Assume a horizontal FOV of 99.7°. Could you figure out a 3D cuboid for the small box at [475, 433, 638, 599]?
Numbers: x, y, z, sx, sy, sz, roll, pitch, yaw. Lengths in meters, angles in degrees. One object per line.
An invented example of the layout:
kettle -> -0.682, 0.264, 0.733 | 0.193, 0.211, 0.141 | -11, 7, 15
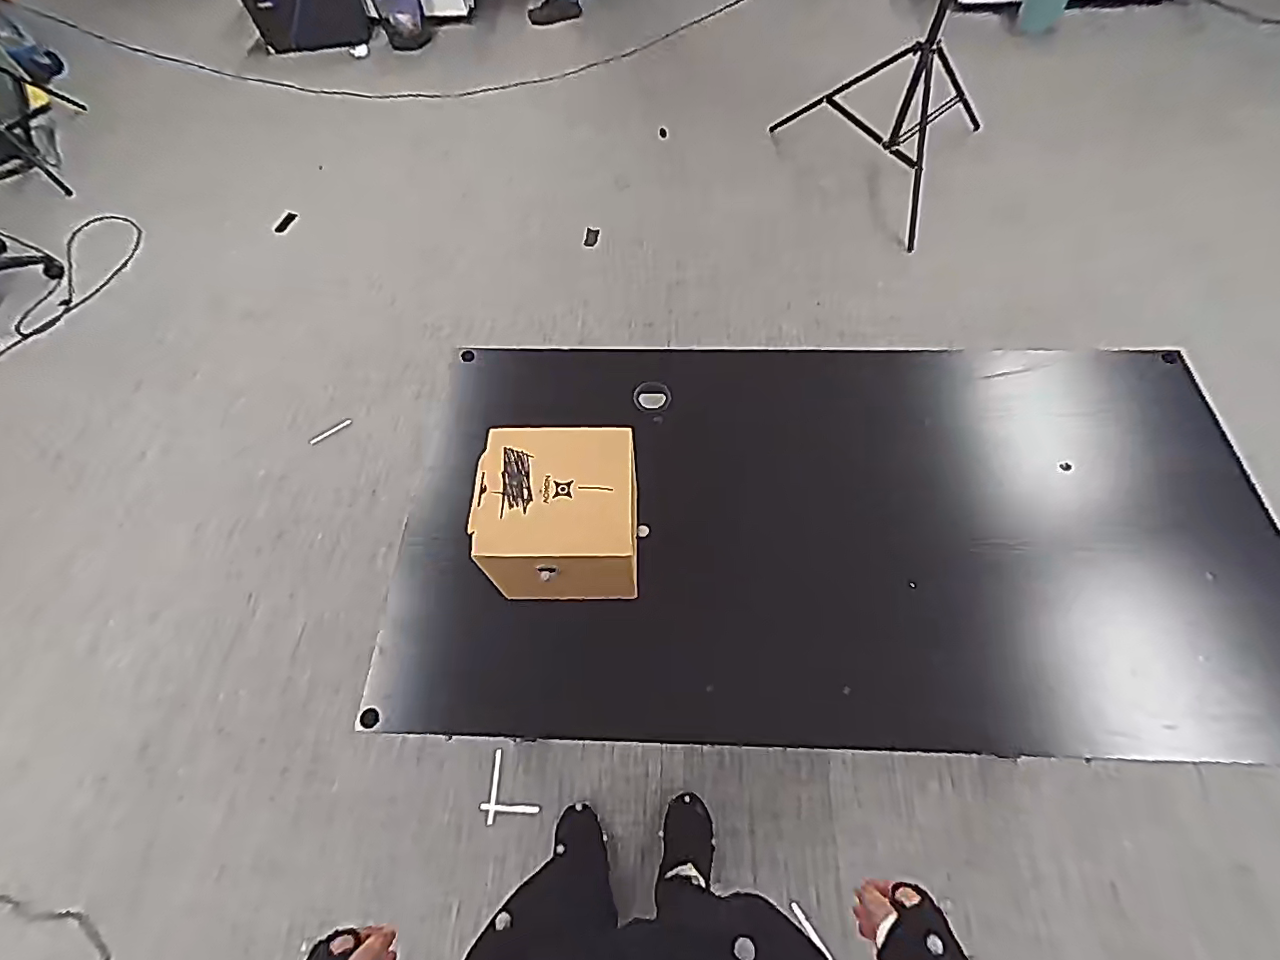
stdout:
small box -> -0.093, 0.053, 0.699 | 0.179, 0.176, 0.168 | -1, 62, 1
